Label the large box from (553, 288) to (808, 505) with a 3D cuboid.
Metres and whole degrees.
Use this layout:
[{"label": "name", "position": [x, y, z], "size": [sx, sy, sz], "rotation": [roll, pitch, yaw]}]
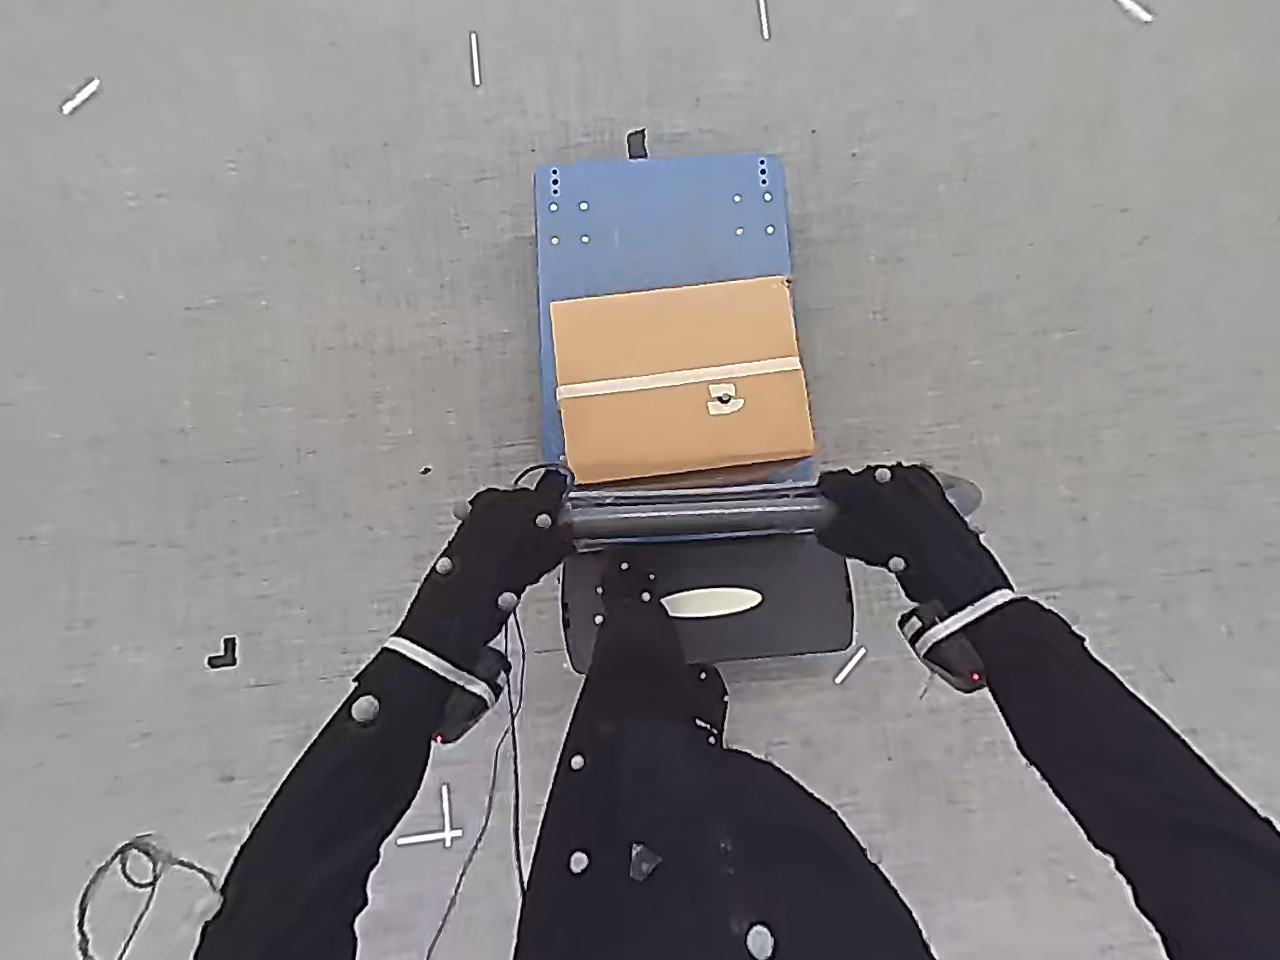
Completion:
[{"label": "large box", "position": [0.063, -0.139, 1.063], "size": [0.408, 0.320, 0.320], "rotation": [-7, 84, -2]}]
